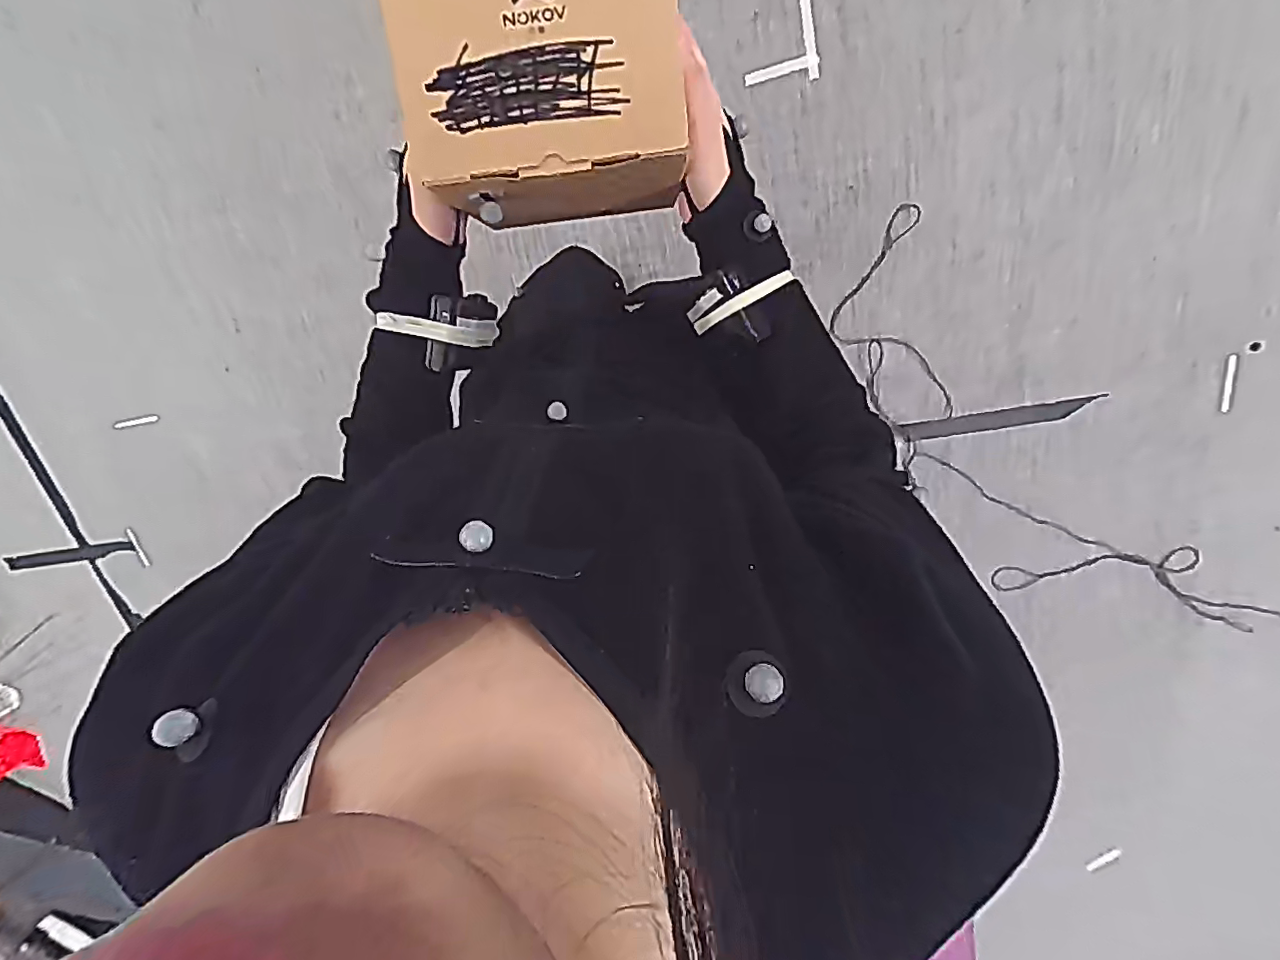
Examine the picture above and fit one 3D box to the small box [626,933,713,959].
[{"bbox_3d":[0.062,1.002,1.018,0.168,0.176,0.179,-7,110,7],"label":"small box"}]
